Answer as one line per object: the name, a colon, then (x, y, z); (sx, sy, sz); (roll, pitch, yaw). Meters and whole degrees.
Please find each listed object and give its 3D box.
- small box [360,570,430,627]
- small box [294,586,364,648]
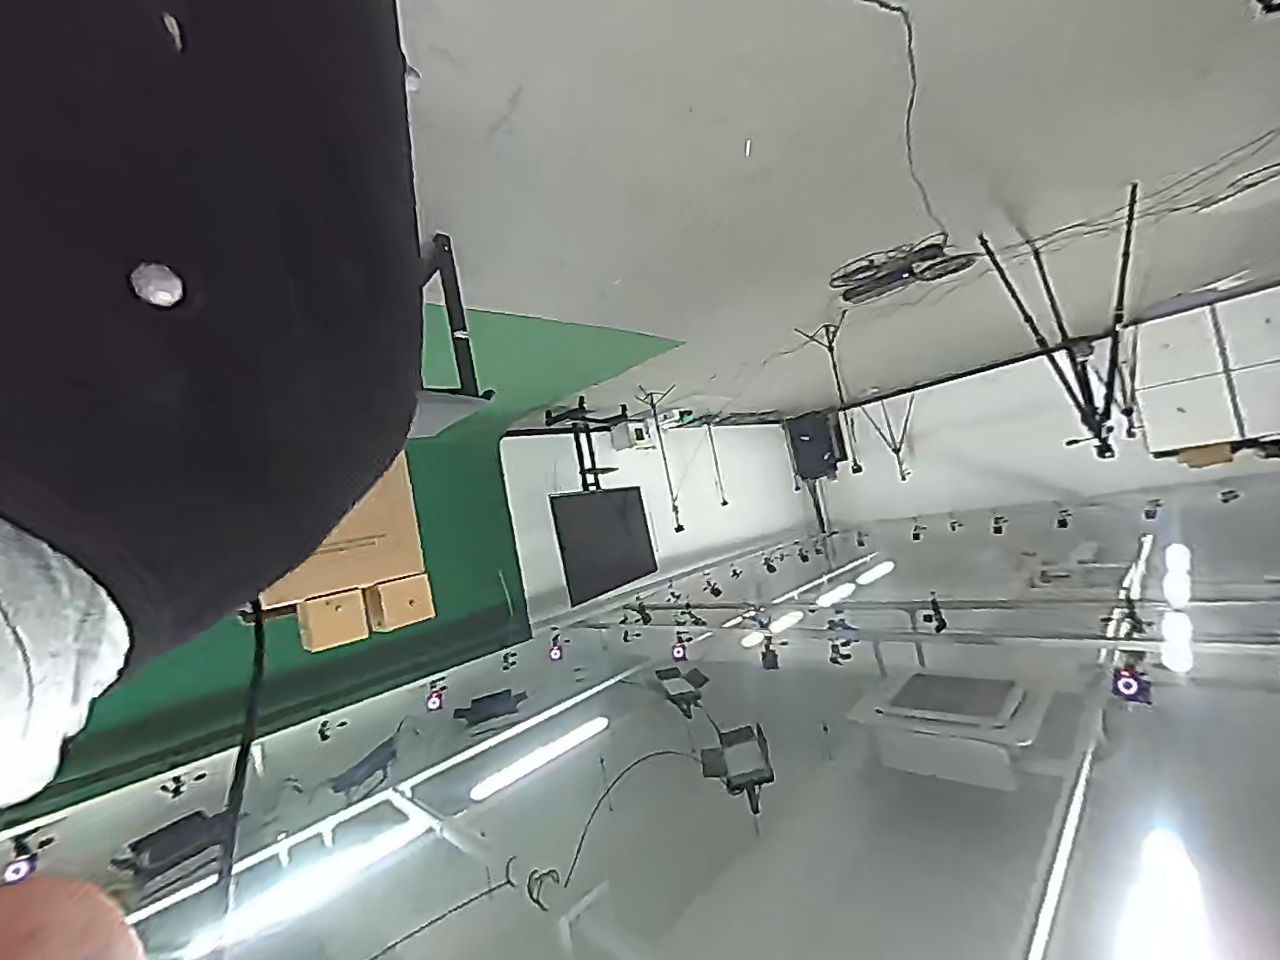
small box: (-0.907, 0.434, 1.998); (0.179, 0.176, 0.168); (-11, 177, -44)
small box: (-1.072, 0.464, 1.854); (0.168, 0.176, 0.179); (-9, 175, -43)
